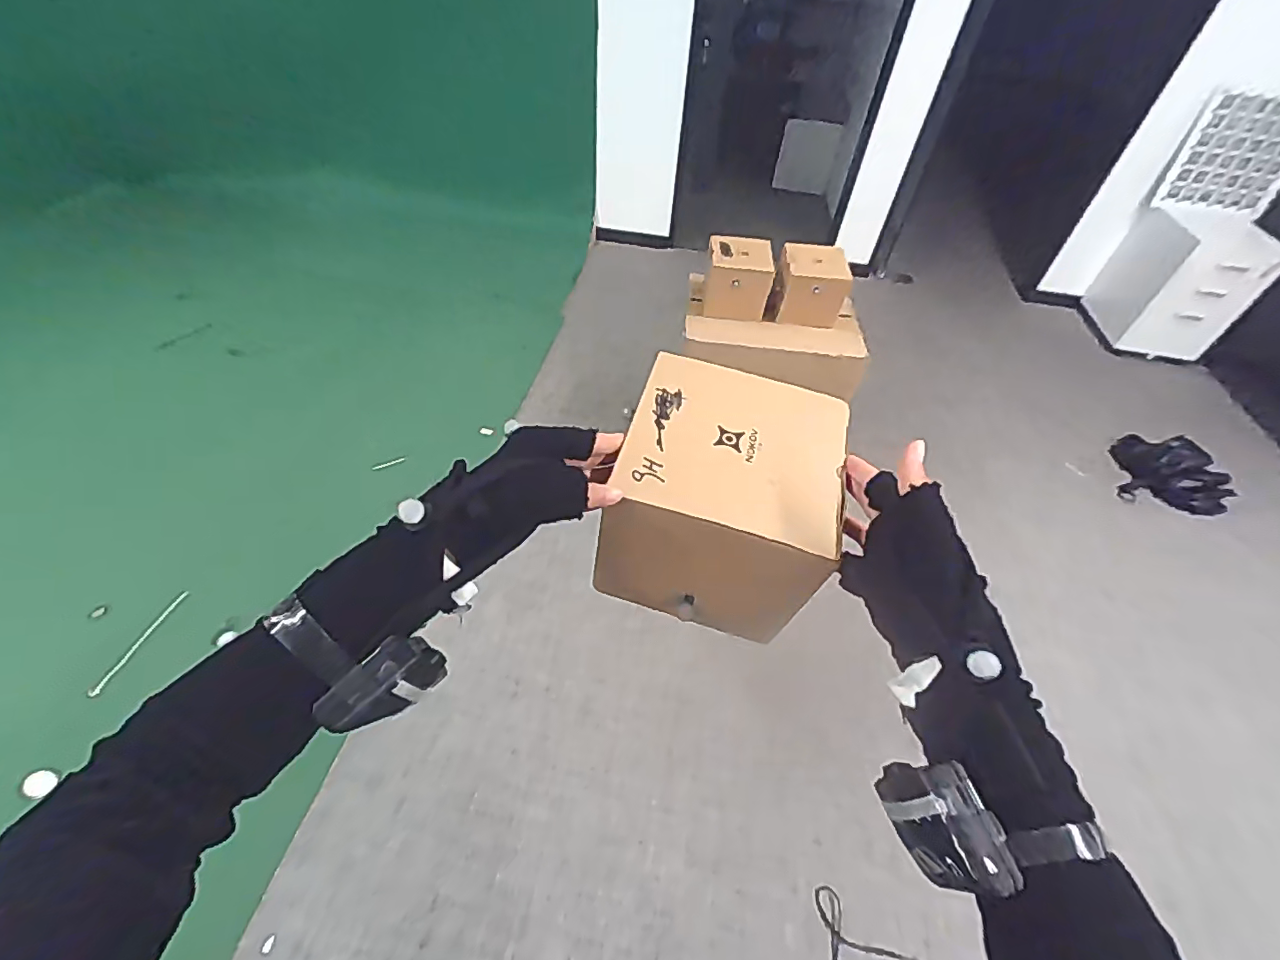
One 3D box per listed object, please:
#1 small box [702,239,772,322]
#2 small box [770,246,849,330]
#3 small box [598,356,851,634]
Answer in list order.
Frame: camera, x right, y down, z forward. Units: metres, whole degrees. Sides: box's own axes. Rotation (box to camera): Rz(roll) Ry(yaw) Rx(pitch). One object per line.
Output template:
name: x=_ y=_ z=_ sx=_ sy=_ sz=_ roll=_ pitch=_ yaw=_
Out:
small box: x=0.280 y=-0.589 z=1.604 sx=0.179 sy=0.176 sz=0.168 roll=6 pitch=53 yaw=-1
small box: x=0.493 y=-0.568 z=1.608 sx=0.179 sy=0.176 sz=0.168 roll=5 pitch=54 yaw=-3
small box: x=0.071 y=0.021 z=0.496 sx=0.179 sy=0.176 sz=0.168 roll=17 pitch=51 yaw=3
